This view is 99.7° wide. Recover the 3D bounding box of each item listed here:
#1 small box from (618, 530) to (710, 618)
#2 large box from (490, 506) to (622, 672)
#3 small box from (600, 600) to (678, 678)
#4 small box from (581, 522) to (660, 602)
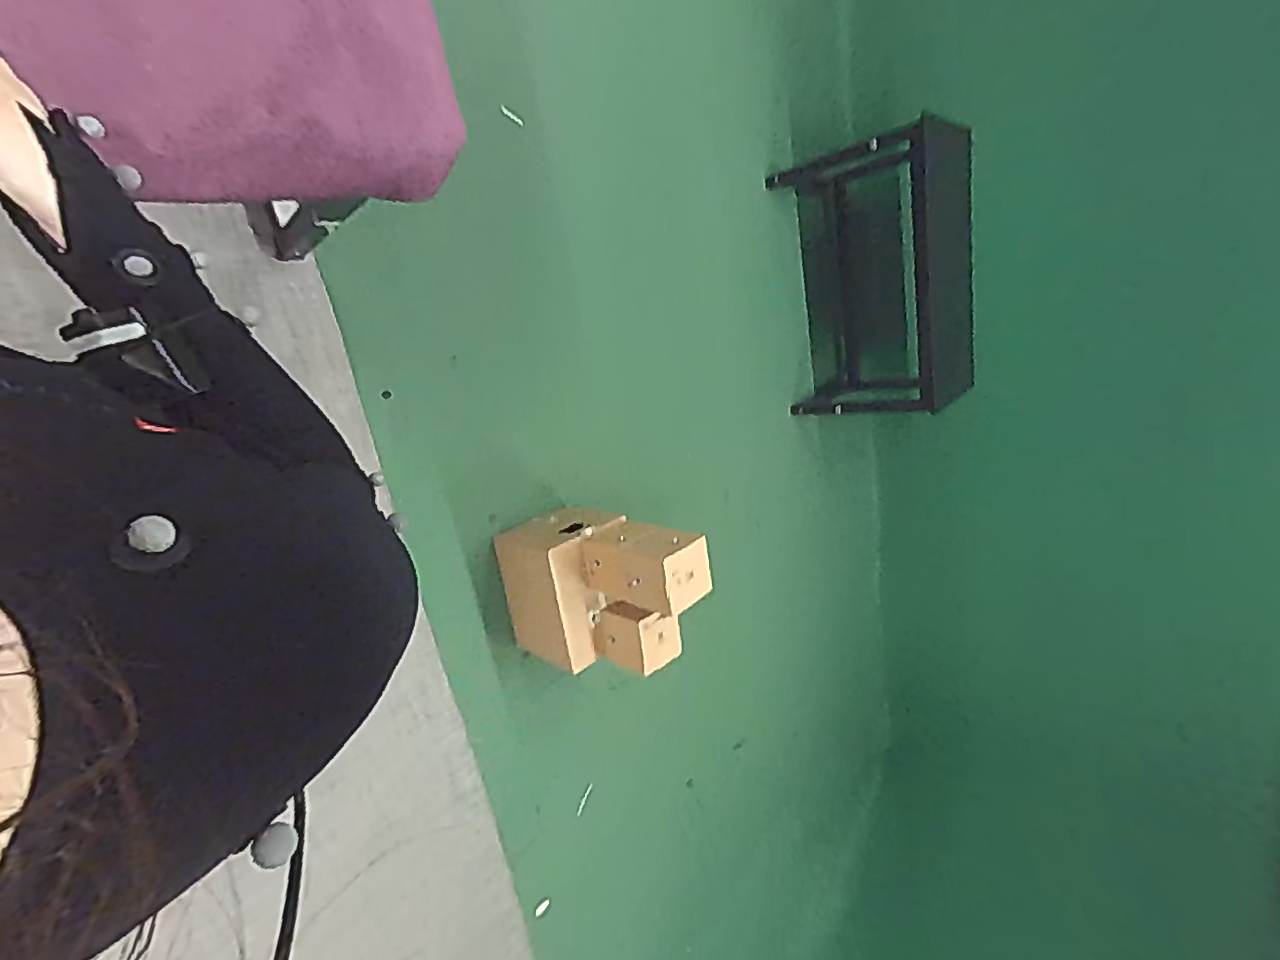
[{"bbox_3d":[0.067,0.248,1.478,0.179,0.176,0.168,-23,110,-41],"label":"small box"},{"bbox_3d":[-0.239,0.332,1.757,0.320,0.320,0.408,-22,110,-41],"label":"large box"},{"bbox_3d":[-0.005,0.469,1.658,0.168,0.176,0.179,-15,104,-44],"label":"small box"},{"bbox_3d":[-0.049,0.233,1.594,0.179,0.176,0.168,-22,110,-42],"label":"small box"}]
